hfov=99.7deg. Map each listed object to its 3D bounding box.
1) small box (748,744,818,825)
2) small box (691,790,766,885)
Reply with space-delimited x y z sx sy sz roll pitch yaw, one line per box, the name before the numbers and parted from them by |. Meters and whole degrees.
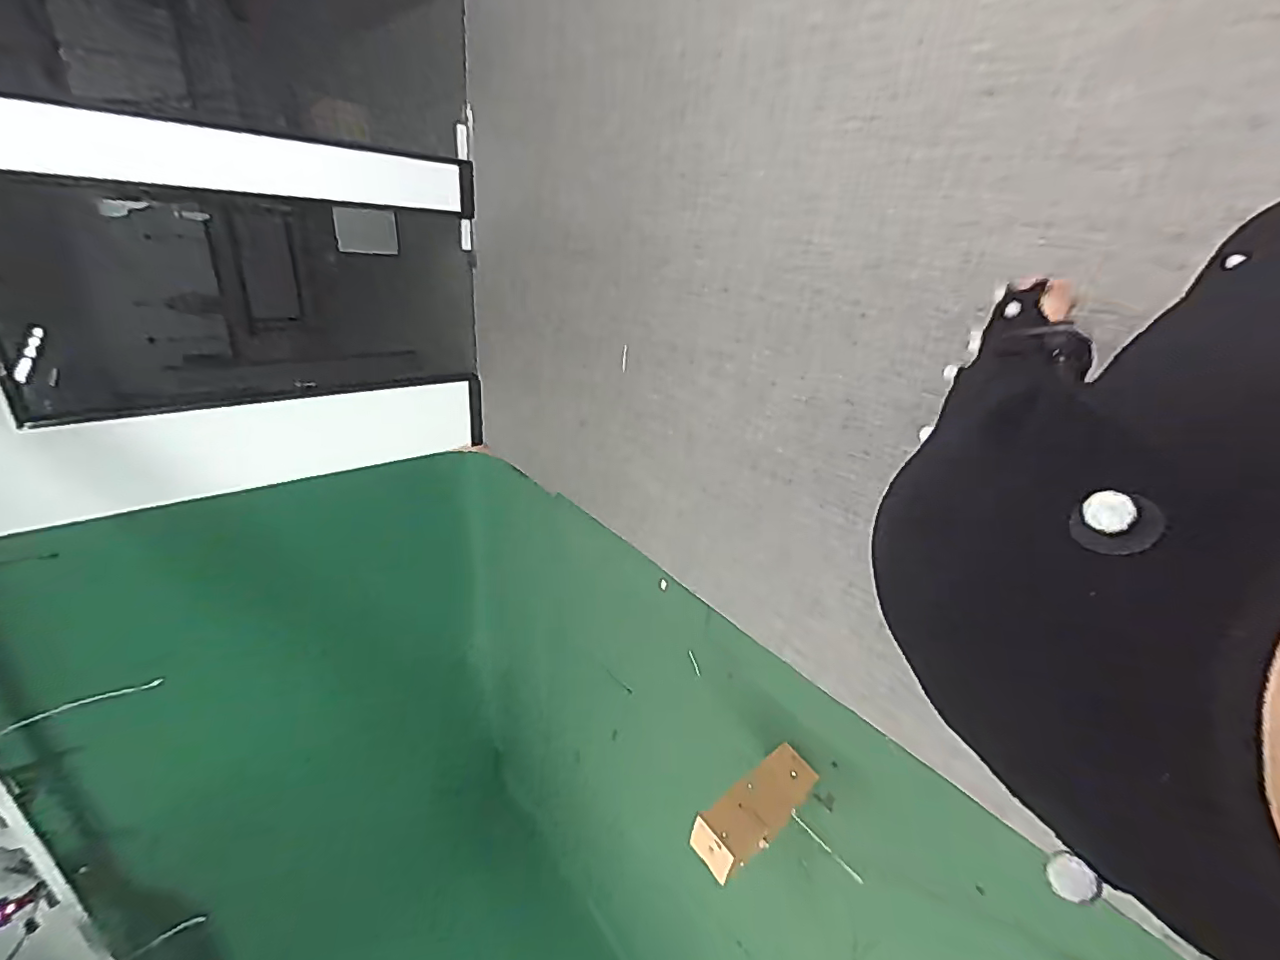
small box | 0.544 1.142 2.041 0.168 0.176 0.179 39 130 37
small box | 0.300 1.204 1.828 0.168 0.176 0.179 35 128 40
